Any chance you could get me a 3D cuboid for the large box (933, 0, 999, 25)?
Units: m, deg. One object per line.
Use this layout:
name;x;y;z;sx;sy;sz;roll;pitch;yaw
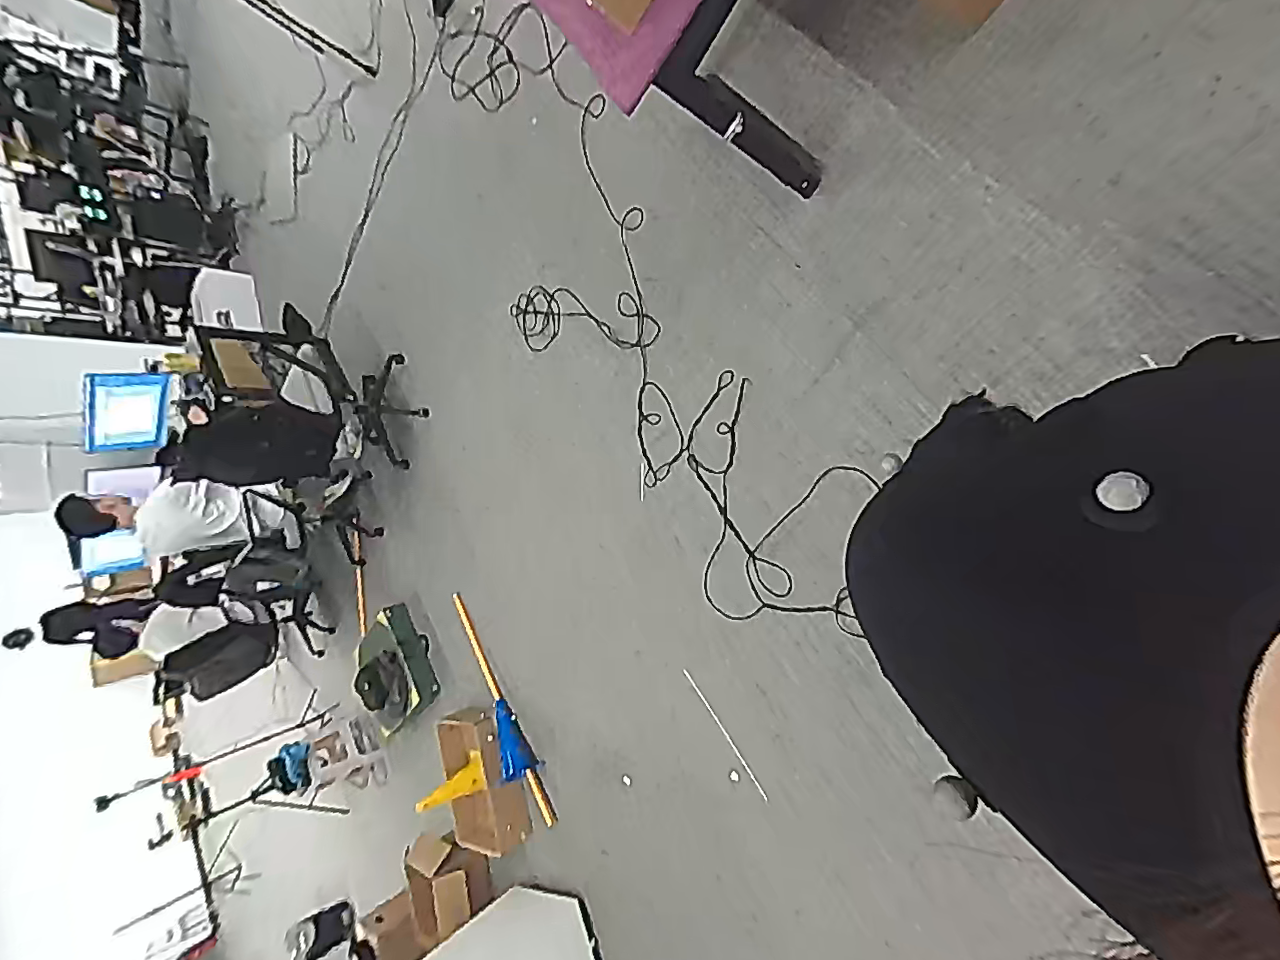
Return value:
large box;0.648;-1.260;1.103;0.320;0.320;0.408;-49;66;34
